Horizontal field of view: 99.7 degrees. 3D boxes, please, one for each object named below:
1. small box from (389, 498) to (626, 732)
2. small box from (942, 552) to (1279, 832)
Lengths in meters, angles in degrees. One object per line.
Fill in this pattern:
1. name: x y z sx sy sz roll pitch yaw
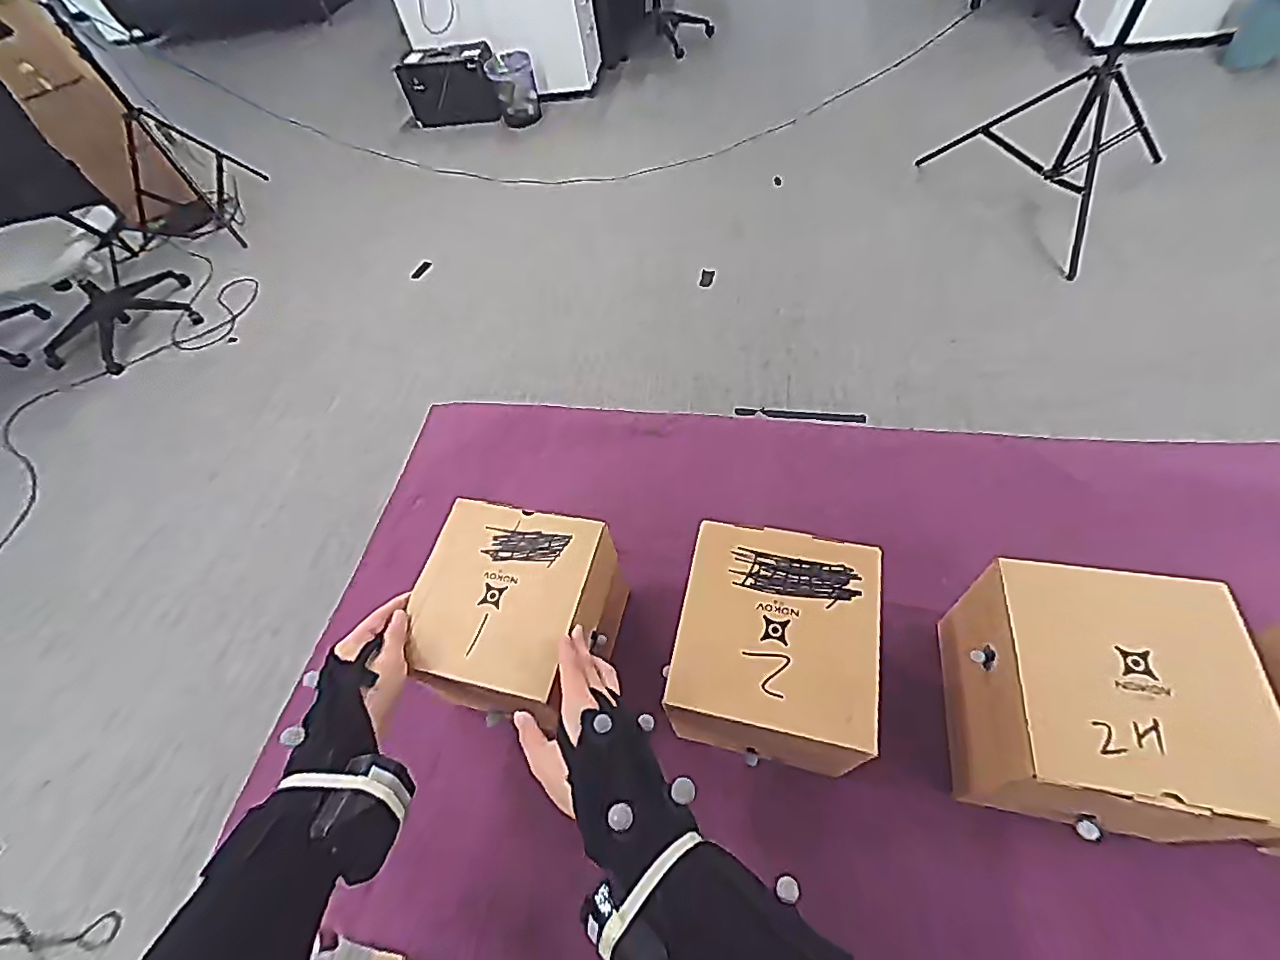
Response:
1. small box: -0.119 0.146 0.574 0.168 0.176 0.179 8 58 14
2. small box: 0.383 0.187 0.473 0.168 0.176 0.179 5 57 13
